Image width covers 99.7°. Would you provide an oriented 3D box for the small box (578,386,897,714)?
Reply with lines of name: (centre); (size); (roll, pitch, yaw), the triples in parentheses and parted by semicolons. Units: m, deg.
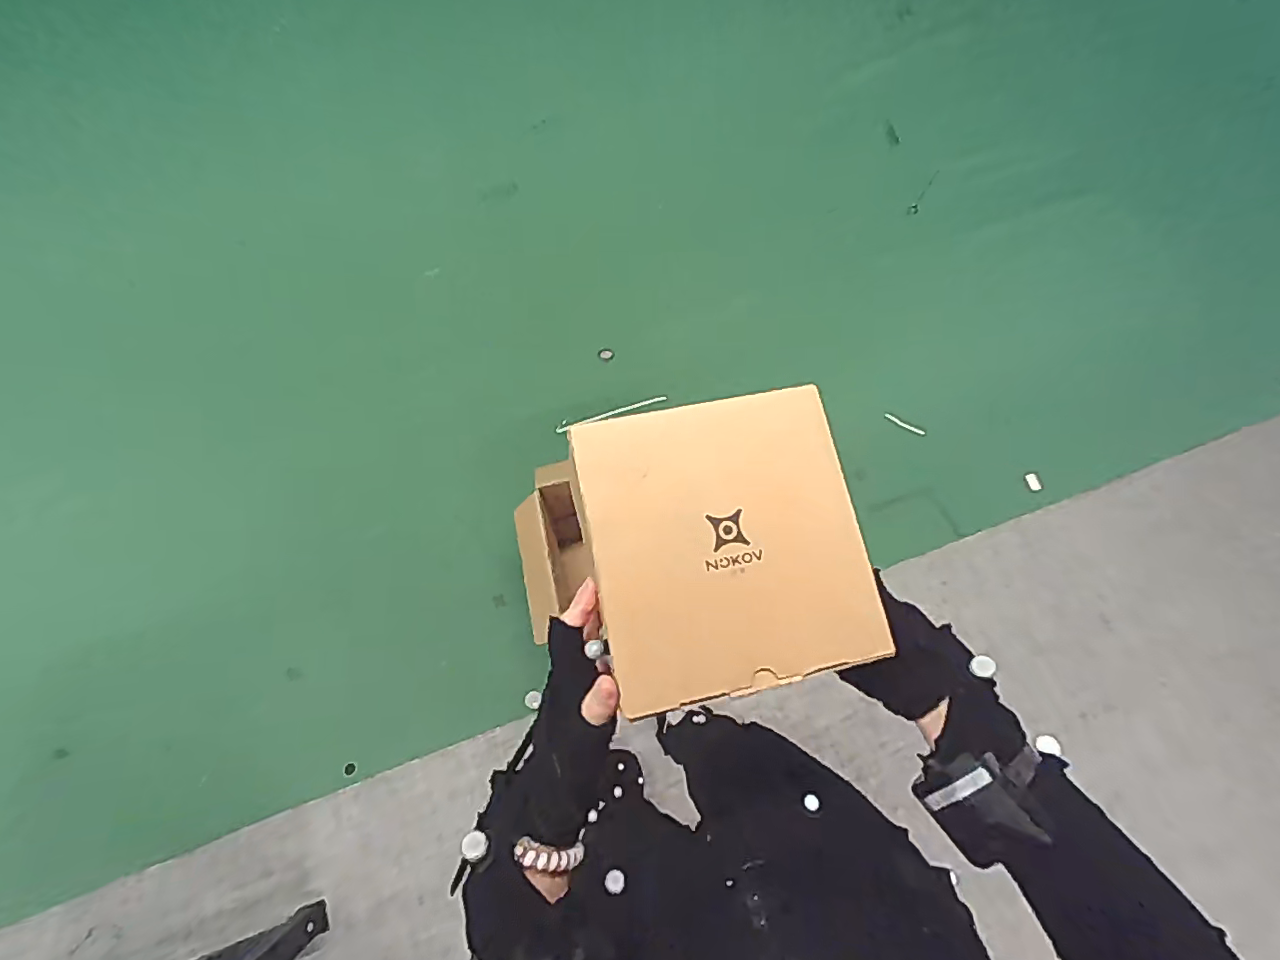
small box: (0.048, 0.052, 0.404); (0.168, 0.176, 0.179); (-11, 79, -9)
